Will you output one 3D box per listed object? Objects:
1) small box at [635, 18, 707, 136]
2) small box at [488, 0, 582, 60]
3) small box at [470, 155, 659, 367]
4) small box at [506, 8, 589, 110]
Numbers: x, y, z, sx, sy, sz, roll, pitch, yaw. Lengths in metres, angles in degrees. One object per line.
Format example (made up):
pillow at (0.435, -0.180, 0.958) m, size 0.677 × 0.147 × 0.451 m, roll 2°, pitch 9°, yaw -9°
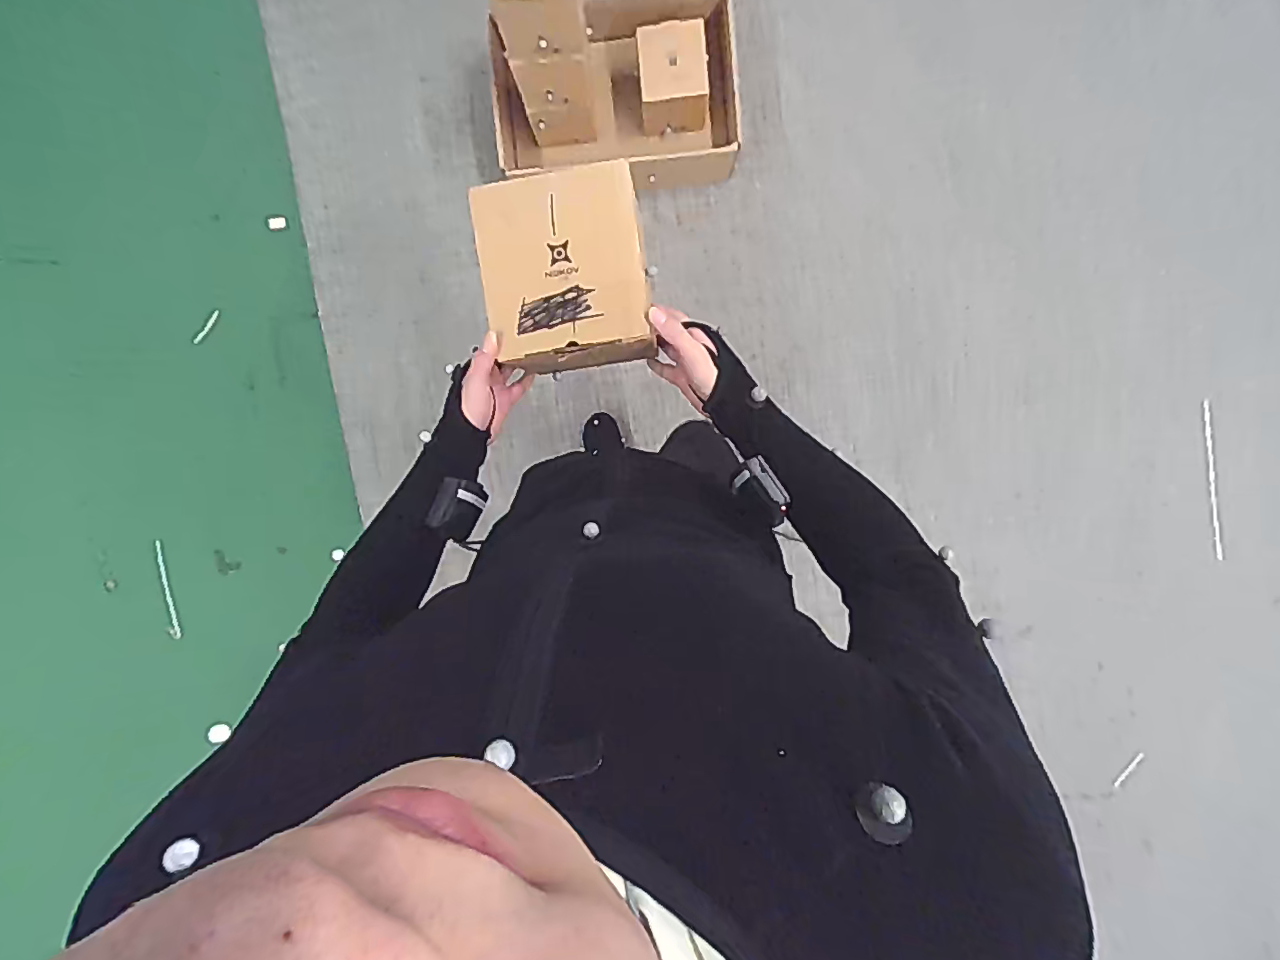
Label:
small box at (0.077, -1.023, 1.384) m, size 0.168 × 0.176 × 0.179 m, roll -5°, pitch 95°, yaw 3°
small box at (-0.210, -0.982, 1.068) m, size 0.168 × 0.176 × 0.179 m, roll -4°, pitch 94°, yaw 1°
small box at (-0.072, -0.229, 0.620) m, size 0.168 × 0.176 × 0.179 m, roll -8°, pitch 95°, yaw 6°
small box at (-0.211, -0.989, 1.232) m, size 0.168 × 0.176 × 0.179 m, roll -5°, pitch 94°, yaw 1°
